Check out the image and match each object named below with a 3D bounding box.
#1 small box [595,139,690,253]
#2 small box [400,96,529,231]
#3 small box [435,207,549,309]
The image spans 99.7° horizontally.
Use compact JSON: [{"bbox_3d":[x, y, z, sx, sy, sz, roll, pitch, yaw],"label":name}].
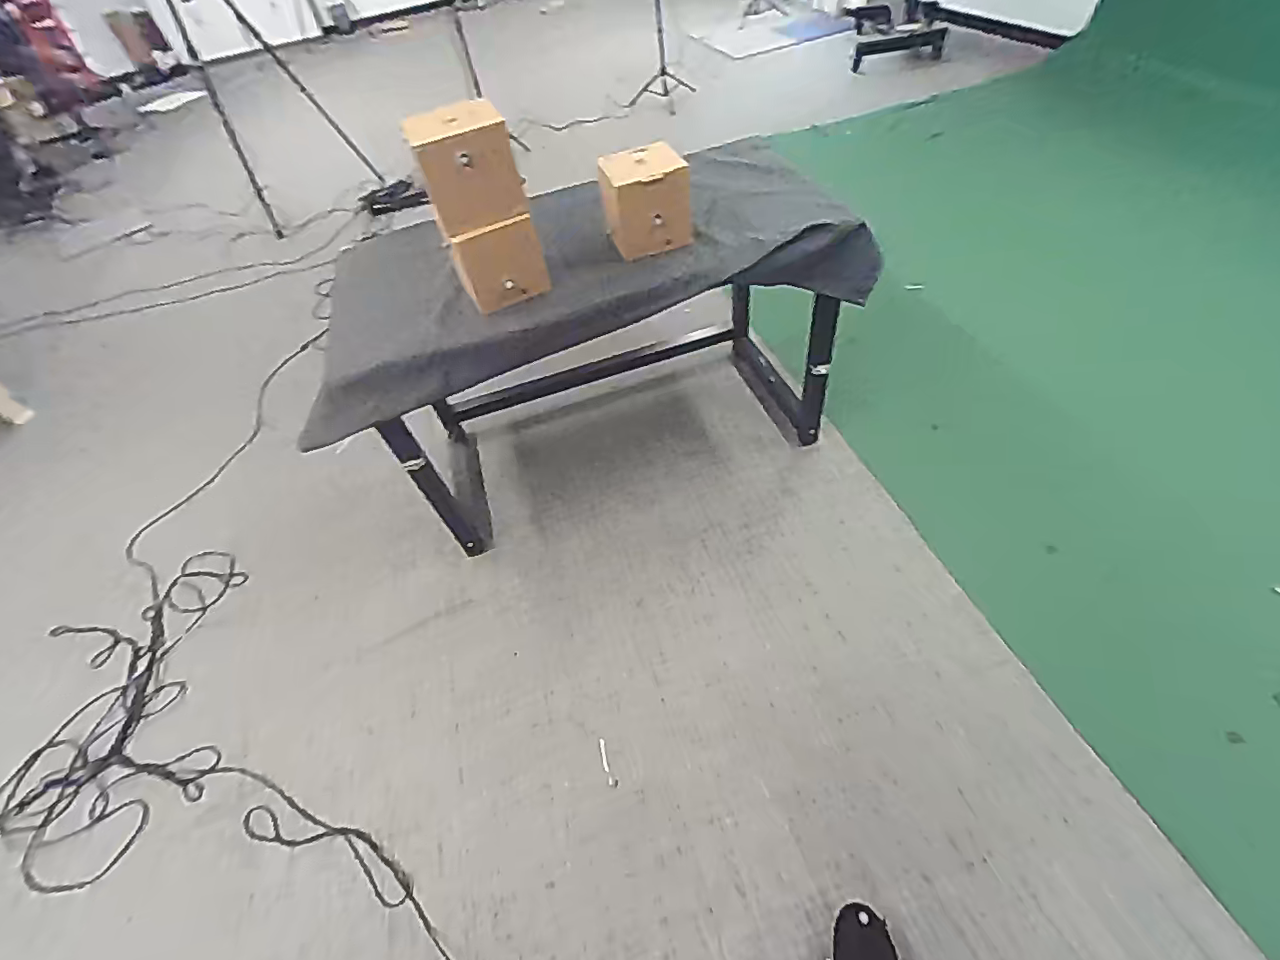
[{"bbox_3d":[0.010,-0.639,1.232,0.168,0.176,0.179,-18,51,-5],"label":"small box"},{"bbox_3d":[-0.339,-0.615,1.058,0.179,0.176,0.168,-22,53,-10],"label":"small box"},{"bbox_3d":[-0.317,-0.502,1.173,0.168,0.176,0.179,-26,52,-12],"label":"small box"}]
